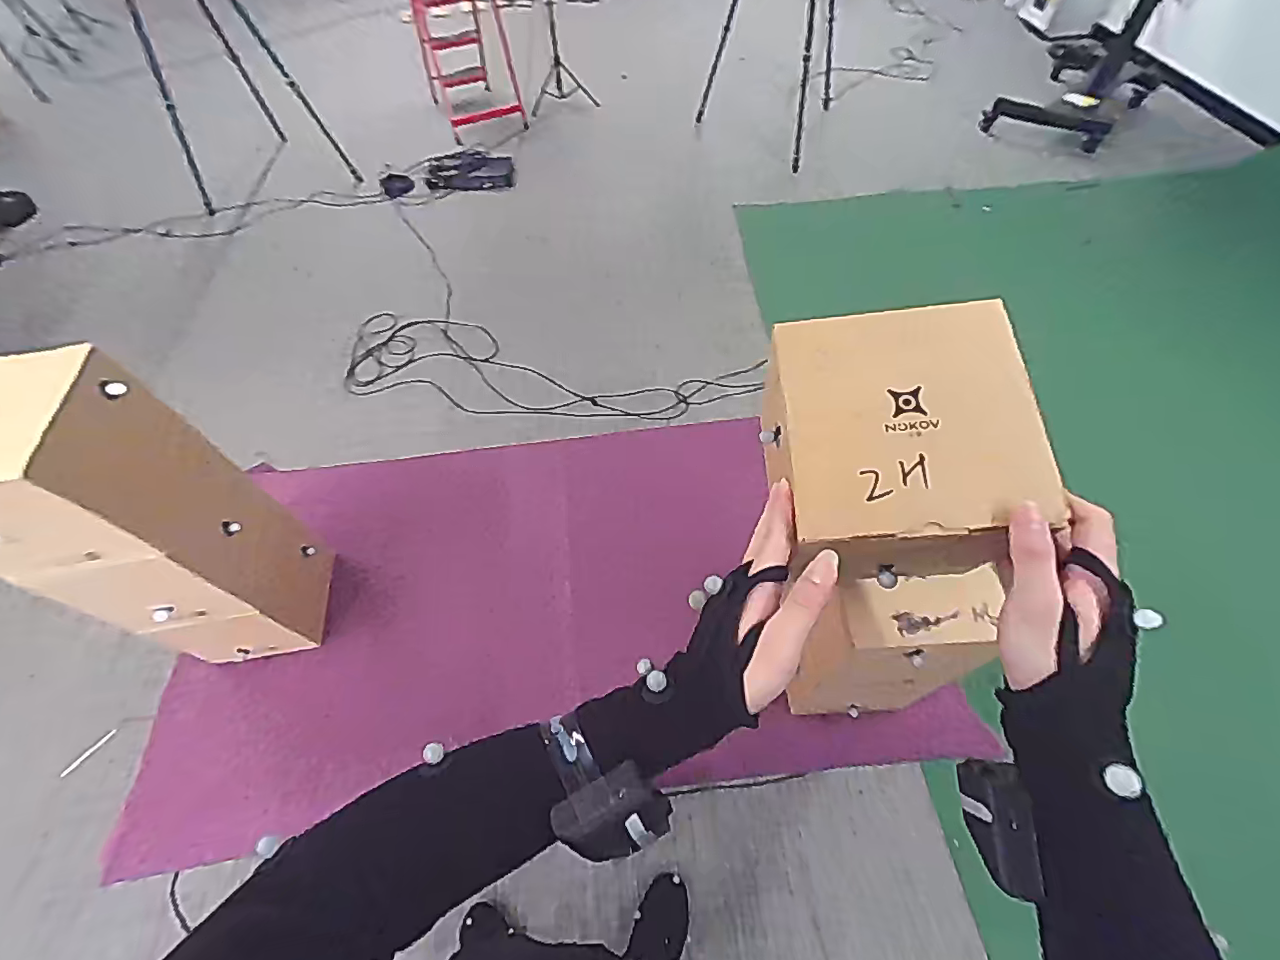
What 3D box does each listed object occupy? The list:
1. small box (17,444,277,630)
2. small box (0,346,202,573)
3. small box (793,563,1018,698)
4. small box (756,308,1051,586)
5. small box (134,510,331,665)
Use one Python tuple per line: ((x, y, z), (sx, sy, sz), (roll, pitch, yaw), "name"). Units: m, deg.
((-0.621, 0.078, 0.715), (0.168, 0.176, 0.179), (-9, 56, -3), "small box")
((-0.626, -0.013, 0.581), (0.168, 0.176, 0.179), (-10, 56, -3), "small box")
((0.286, 0.143, 0.636), (0.168, 0.176, 0.179), (-3, 54, 1), "small box")
((0.189, -0.015, 0.453), (0.168, 0.176, 0.179), (-4, 69, 8), "small box")
((-0.617, 0.171, 0.850), (0.168, 0.176, 0.179), (-8, 57, -3), "small box")
